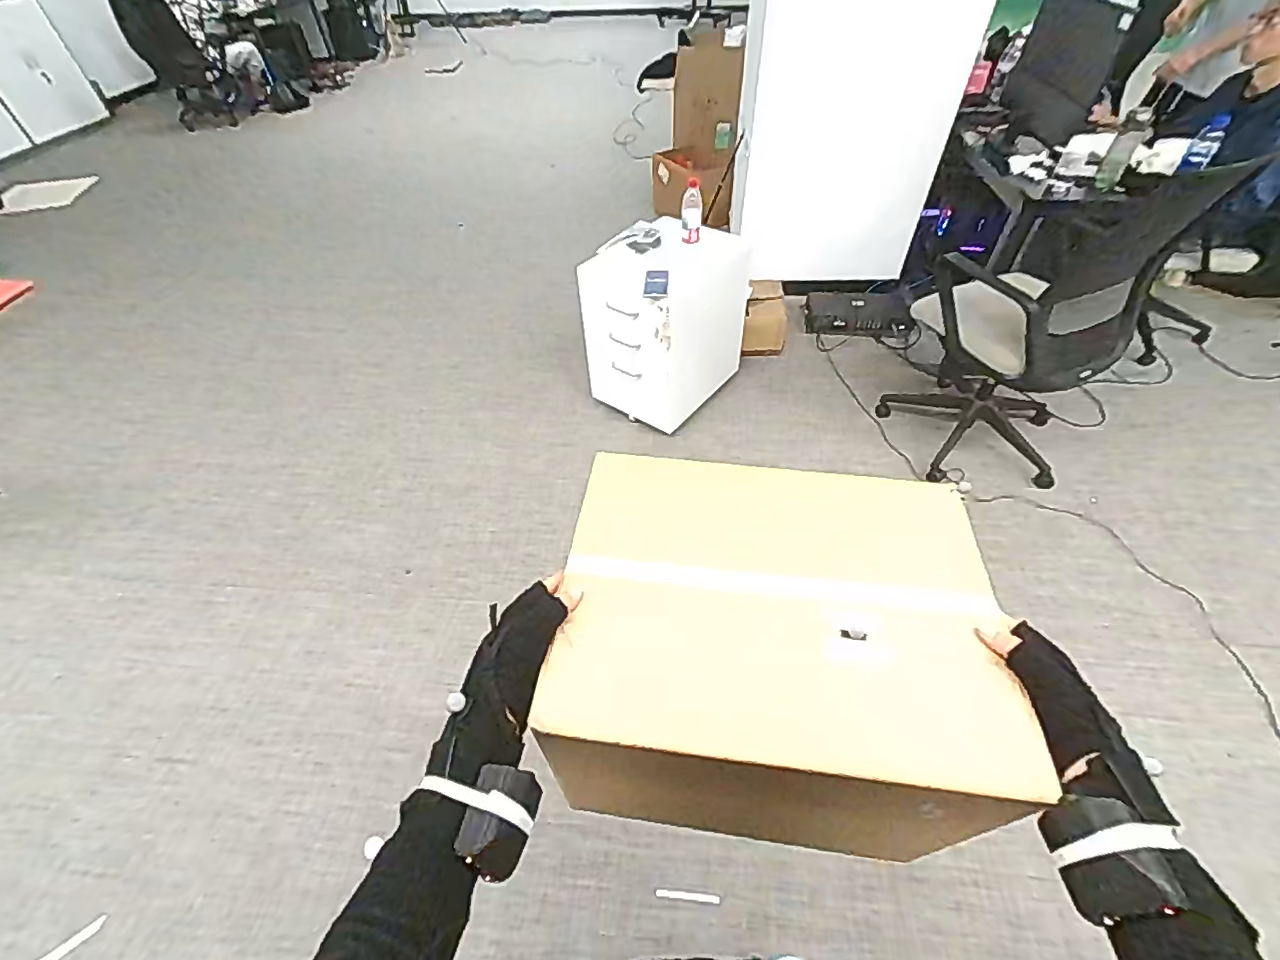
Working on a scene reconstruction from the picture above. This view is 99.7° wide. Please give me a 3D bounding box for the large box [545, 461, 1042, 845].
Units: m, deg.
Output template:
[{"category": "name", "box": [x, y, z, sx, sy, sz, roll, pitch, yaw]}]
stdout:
[{"category": "large box", "box": [0.132, 0.204, 0.639, 0.408, 0.320, 0.320, 5, 50, 5]}]
